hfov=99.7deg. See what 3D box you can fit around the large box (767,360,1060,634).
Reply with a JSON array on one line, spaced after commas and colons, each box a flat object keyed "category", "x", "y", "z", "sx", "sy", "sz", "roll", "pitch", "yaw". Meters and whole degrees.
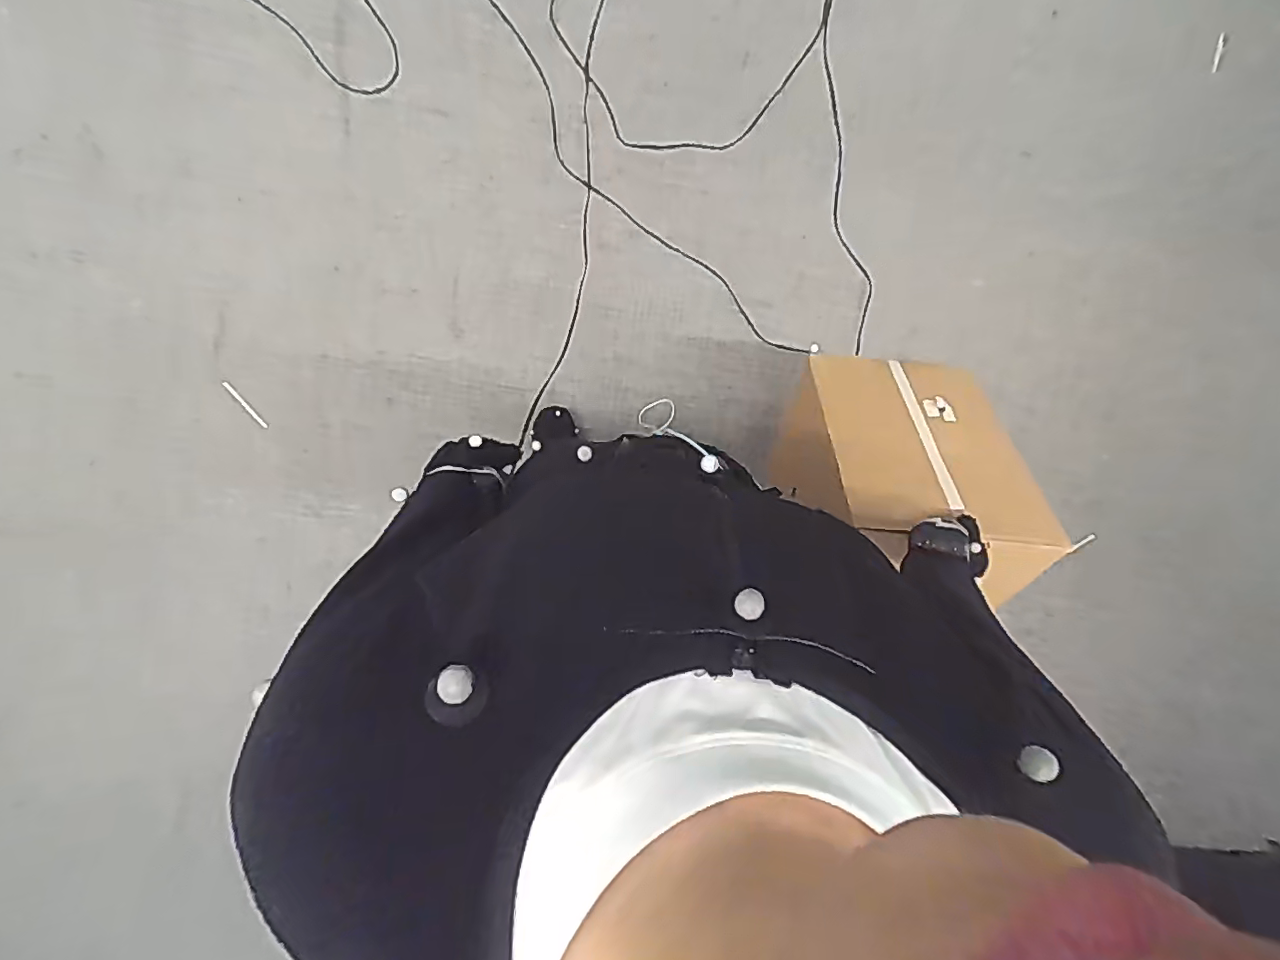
[{"category": "large box", "x": 0.442, "y": 0.032, "z": 1.002, "sx": 0.320, "sy": 0.408, "sz": 0.320, "roll": 5, "pitch": 138, "yaw": -3}]
